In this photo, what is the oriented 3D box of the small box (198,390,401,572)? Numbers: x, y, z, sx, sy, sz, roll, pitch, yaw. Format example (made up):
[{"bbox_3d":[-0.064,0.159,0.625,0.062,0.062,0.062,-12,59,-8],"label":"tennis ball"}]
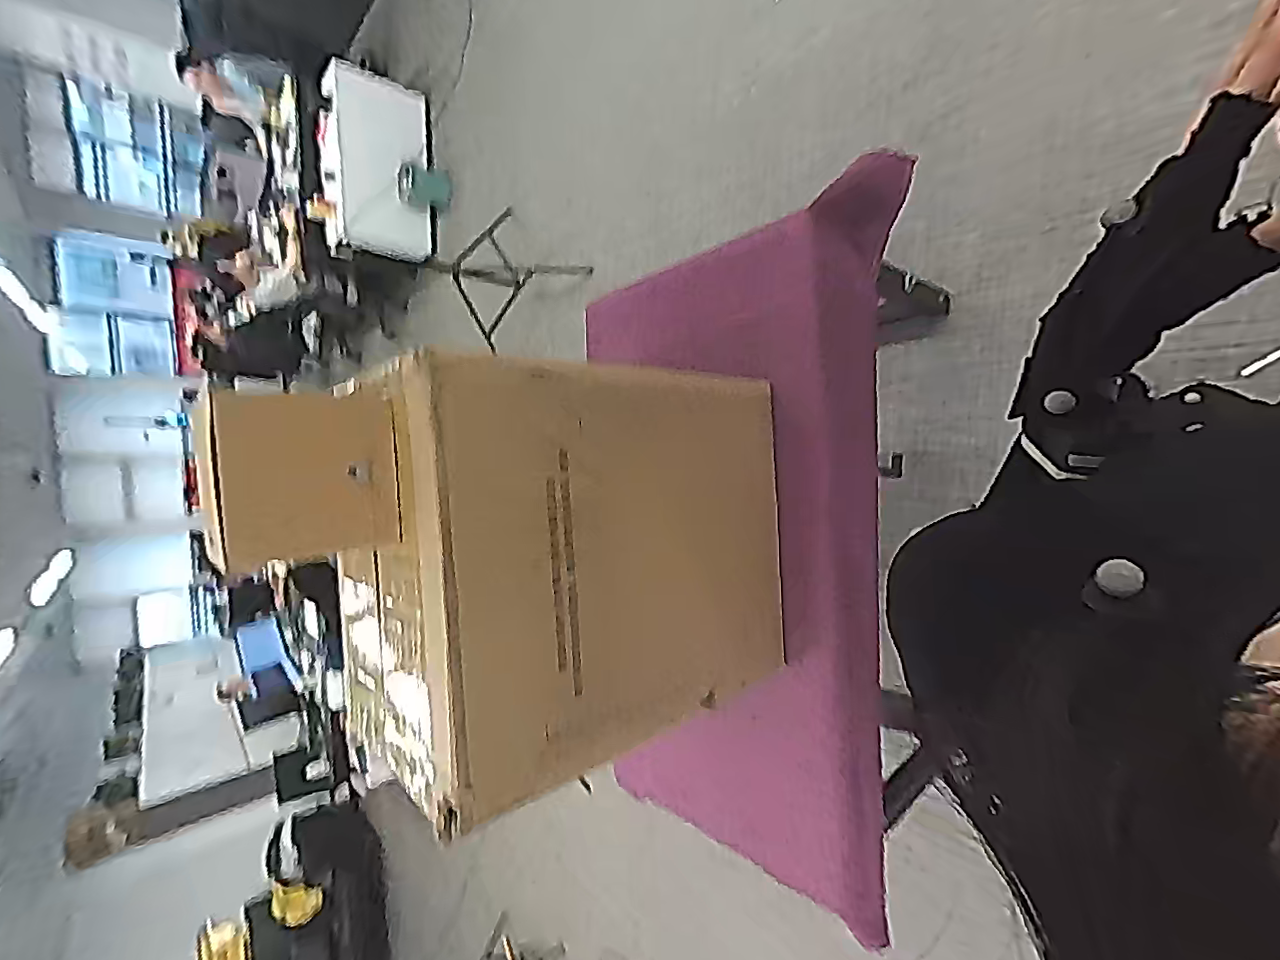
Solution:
[{"bbox_3d":[-0.390,-0.002,0.623,0.168,0.176,0.179,0,94,48],"label":"small box"}]
